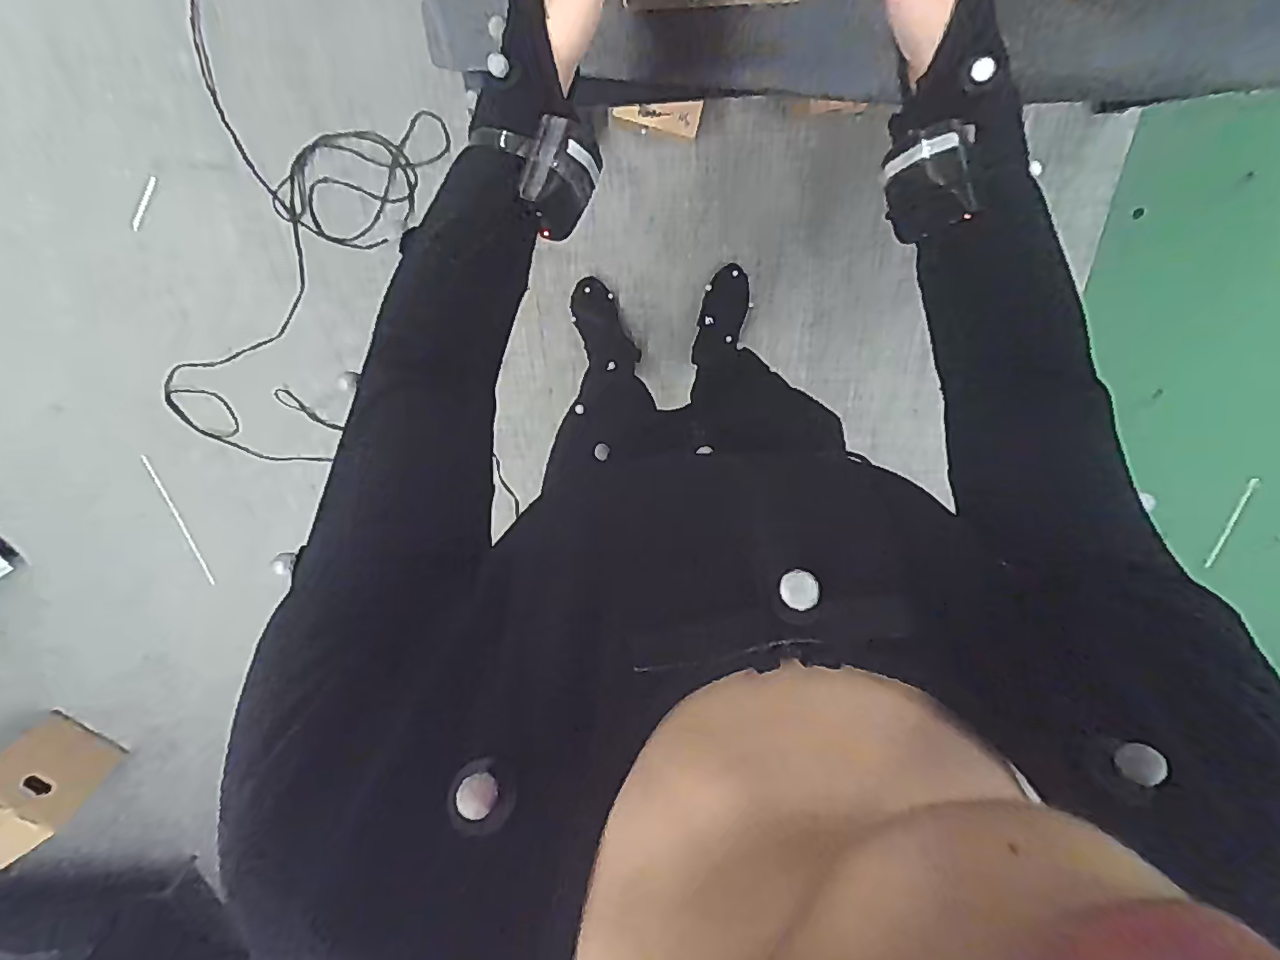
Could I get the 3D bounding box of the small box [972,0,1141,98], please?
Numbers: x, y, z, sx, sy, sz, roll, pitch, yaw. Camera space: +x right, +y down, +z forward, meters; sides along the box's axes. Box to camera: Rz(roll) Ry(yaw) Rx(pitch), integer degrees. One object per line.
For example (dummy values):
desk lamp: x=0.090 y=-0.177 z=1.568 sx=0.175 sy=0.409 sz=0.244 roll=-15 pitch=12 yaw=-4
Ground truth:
small box: x=0.775 y=-0.843 z=1.018 sx=0.179 sy=0.176 sz=0.168 roll=8 pitch=117 yaw=-5

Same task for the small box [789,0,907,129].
small box: x=0.391 y=-0.796 z=1.049 sx=0.168 sy=0.176 sz=0.179 roll=-5 pitch=116 yaw=3

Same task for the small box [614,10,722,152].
small box: x=0.048 y=-0.774 z=1.066 sx=0.168 sy=0.176 sz=0.179 roll=13 pitch=116 yaw=-5
